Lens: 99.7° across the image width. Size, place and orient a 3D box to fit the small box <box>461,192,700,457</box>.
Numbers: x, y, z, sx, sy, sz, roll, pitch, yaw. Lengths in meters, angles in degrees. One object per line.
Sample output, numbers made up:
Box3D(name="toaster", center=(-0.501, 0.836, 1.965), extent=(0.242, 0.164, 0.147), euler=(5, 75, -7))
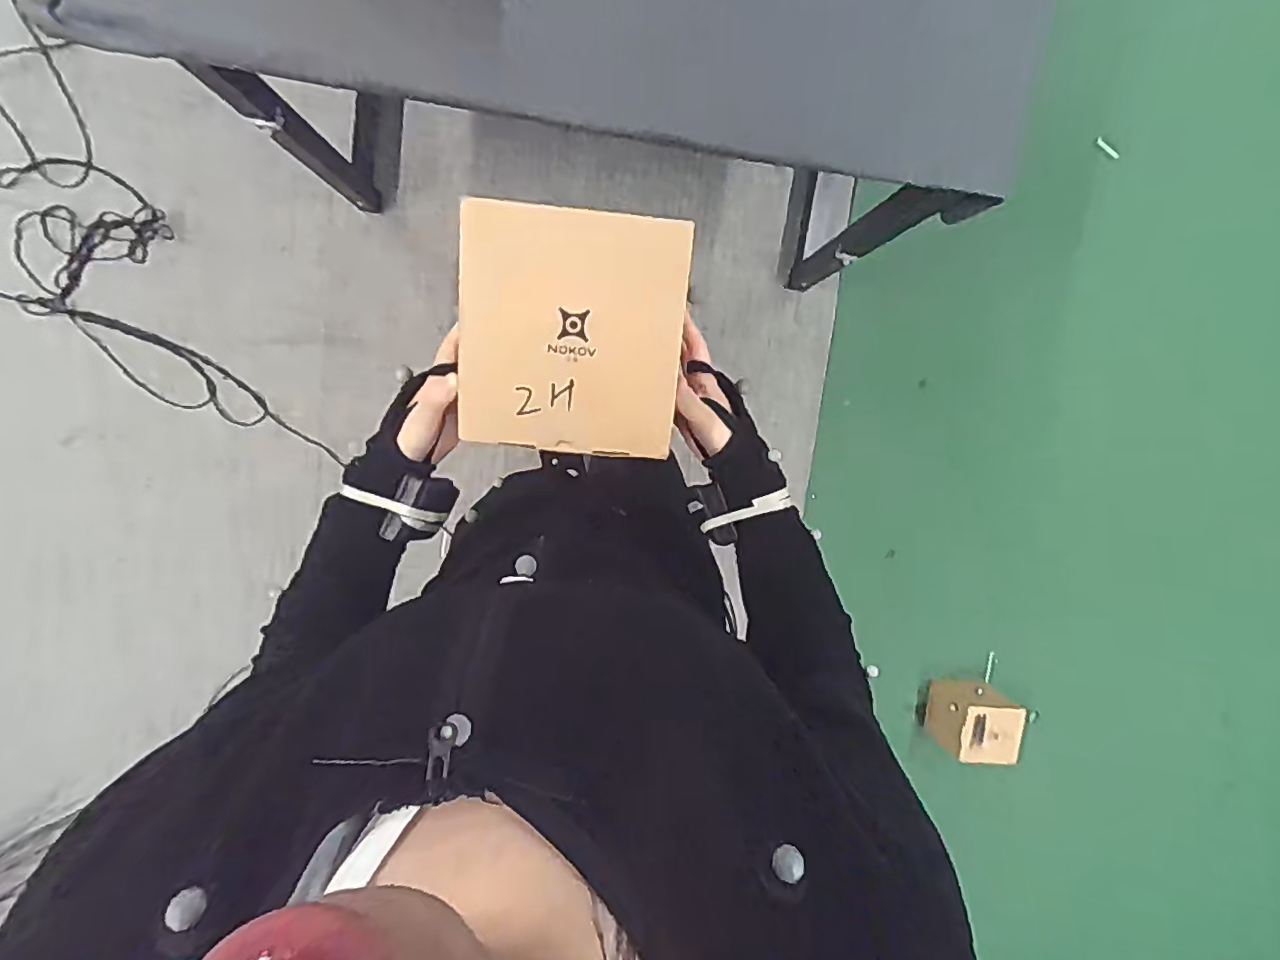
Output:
Box3D(name="small box", center=(-0.051, -0.129, 0.480), extent=(0.168, 0.176, 0.179), euler=(6, 104, -3))
